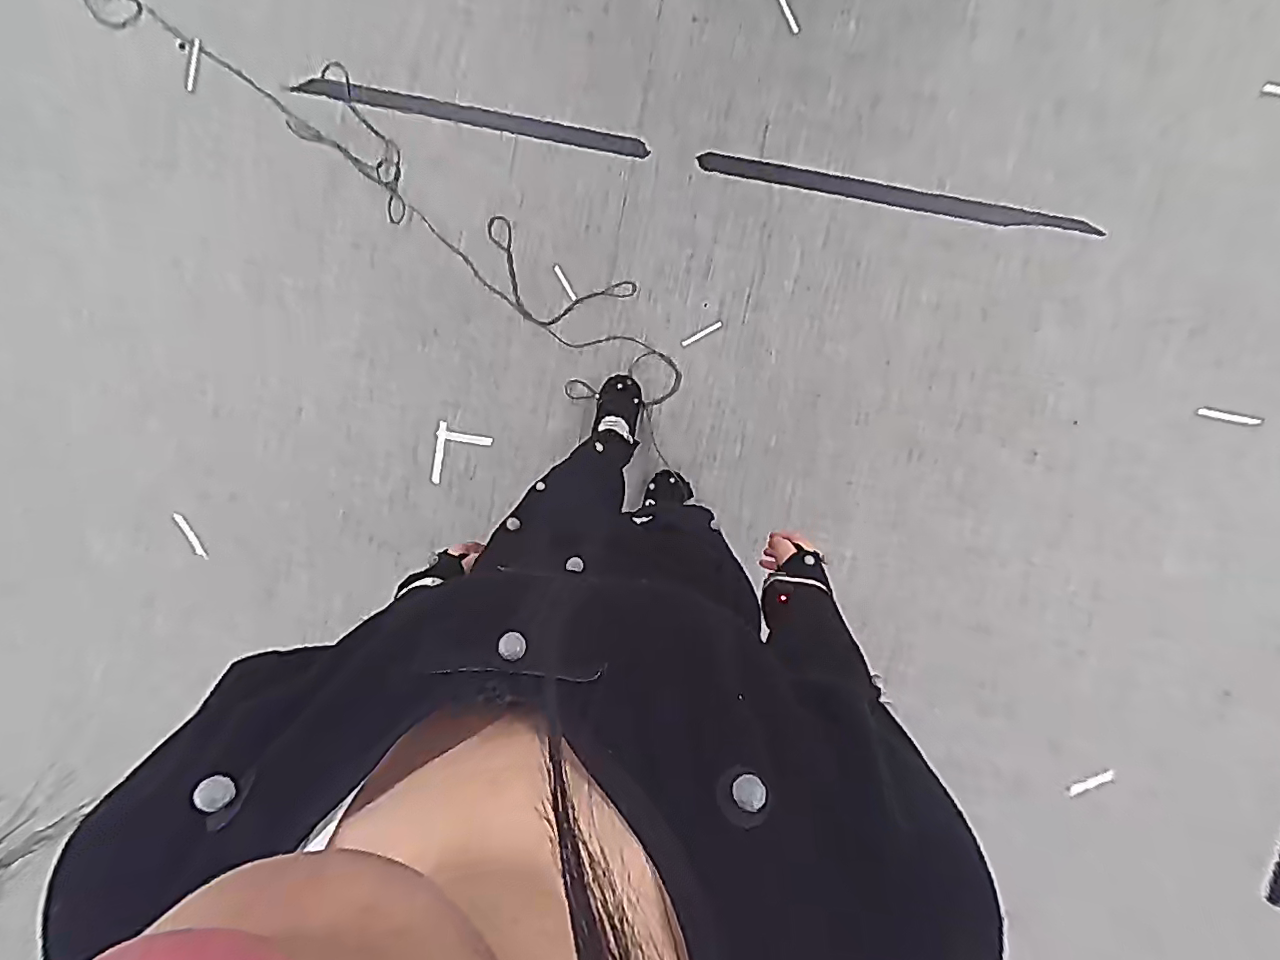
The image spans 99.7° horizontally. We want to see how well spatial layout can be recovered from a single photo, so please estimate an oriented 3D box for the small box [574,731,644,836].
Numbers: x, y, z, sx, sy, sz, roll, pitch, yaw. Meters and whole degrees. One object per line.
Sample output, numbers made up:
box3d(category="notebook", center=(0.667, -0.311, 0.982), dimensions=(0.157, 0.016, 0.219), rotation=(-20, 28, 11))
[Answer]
box3d(category="small box", center=(-0.076, 0.793, 1.426), dimensions=(0.168, 0.176, 0.179), rotation=(2, 92, 2))
